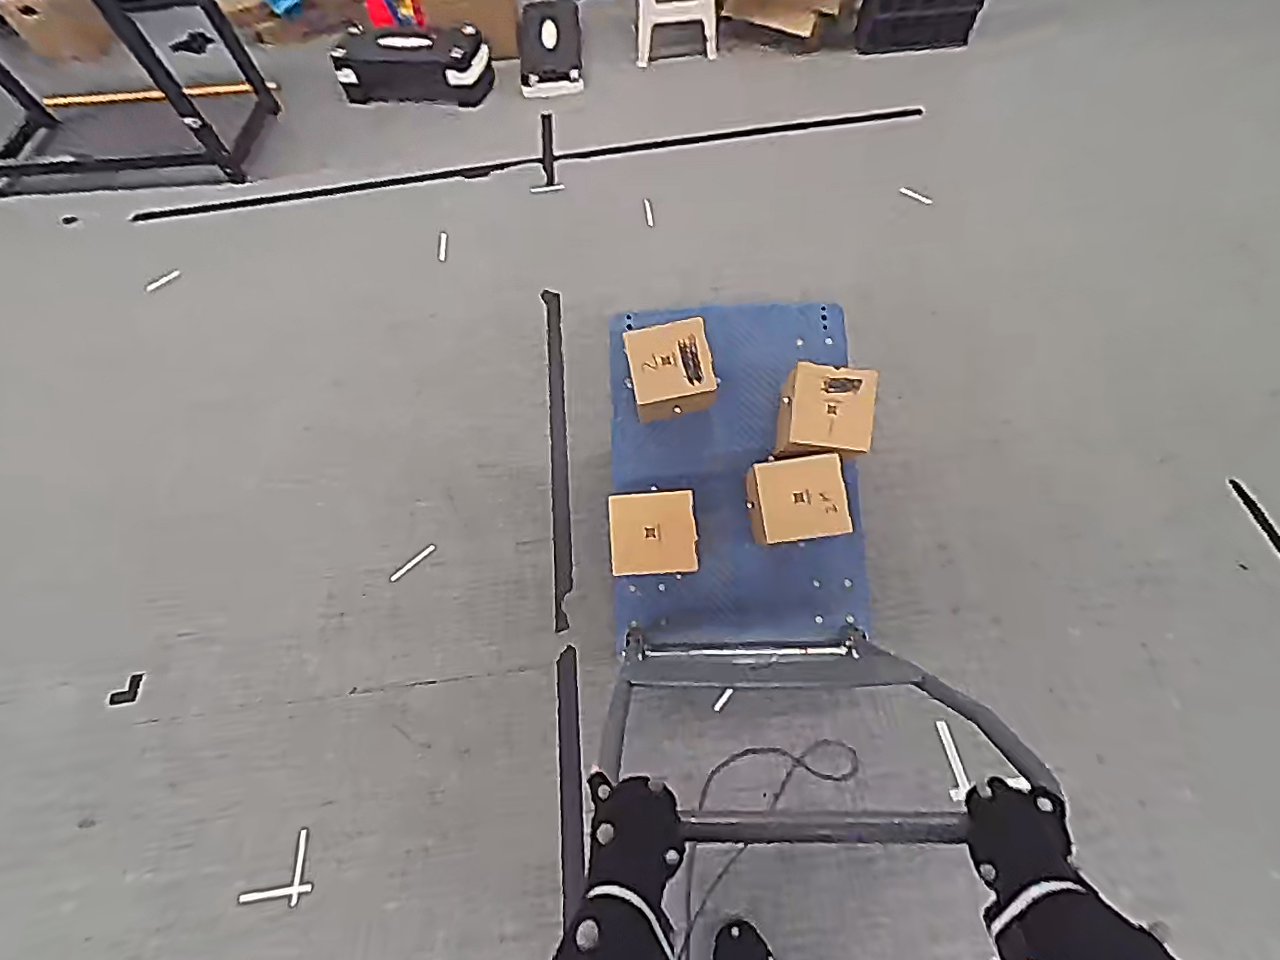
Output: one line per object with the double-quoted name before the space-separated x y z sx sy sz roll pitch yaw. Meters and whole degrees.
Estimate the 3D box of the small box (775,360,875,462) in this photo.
"small box" 0.401 -0.145 1.194 0.168 0.176 0.179 8 83 5

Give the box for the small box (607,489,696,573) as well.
"small box" 0.027 0.116 1.182 0.179 0.176 0.168 -5 82 2

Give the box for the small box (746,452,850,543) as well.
"small box" 0.331 0.044 1.172 0.179 0.176 0.168 -8 82 3
